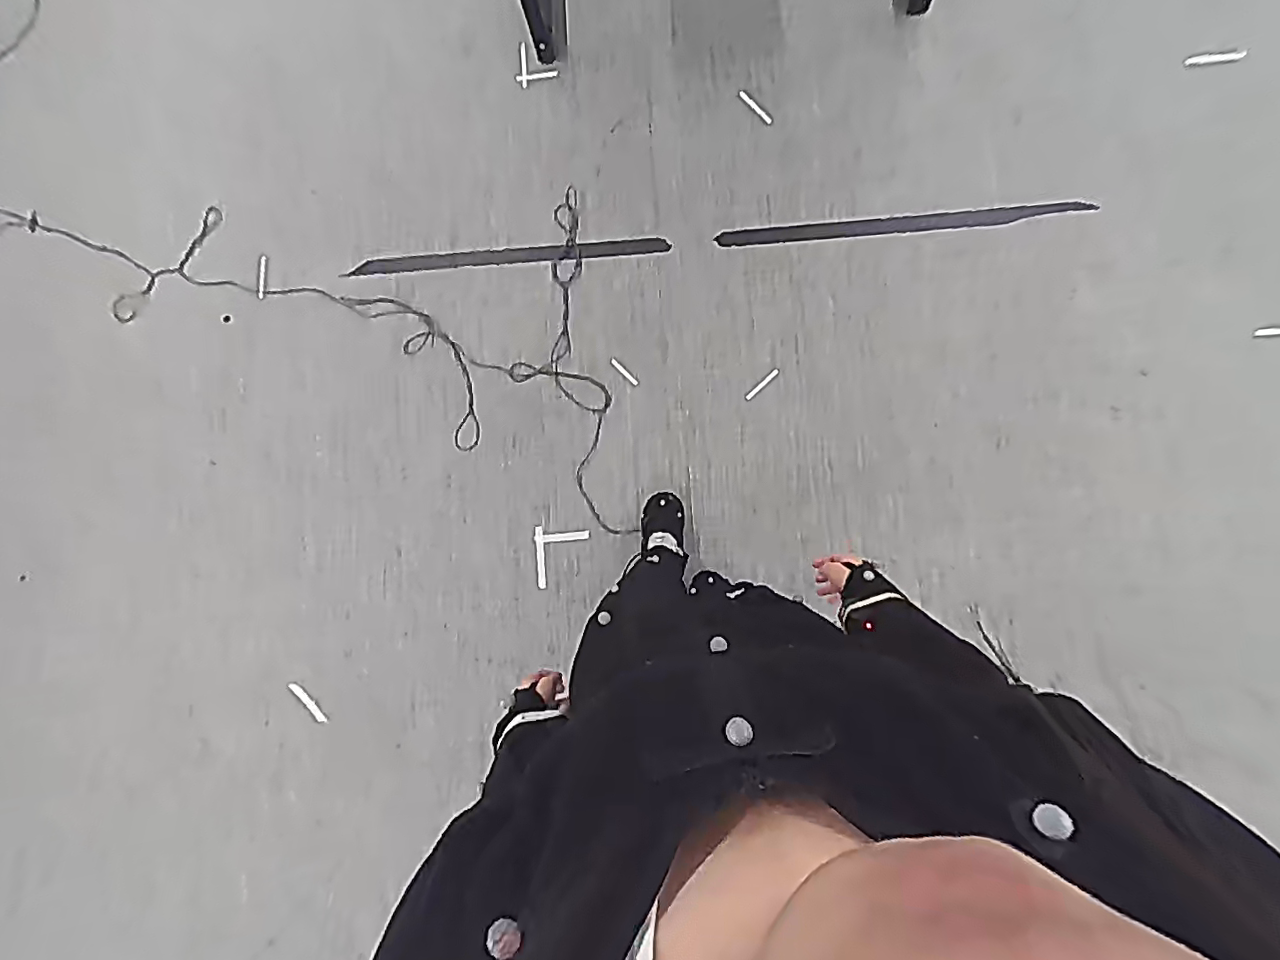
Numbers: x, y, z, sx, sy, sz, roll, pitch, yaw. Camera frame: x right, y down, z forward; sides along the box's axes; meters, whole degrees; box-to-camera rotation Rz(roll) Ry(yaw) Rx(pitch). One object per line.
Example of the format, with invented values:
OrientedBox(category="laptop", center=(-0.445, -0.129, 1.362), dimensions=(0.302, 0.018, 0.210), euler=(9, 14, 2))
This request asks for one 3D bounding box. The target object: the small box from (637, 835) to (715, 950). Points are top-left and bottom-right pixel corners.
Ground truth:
OrientedBox(category="small box", center=(0.090, 1.006, 1.331), dimensions=(0.179, 0.176, 0.168), euler=(-3, 83, 4))
